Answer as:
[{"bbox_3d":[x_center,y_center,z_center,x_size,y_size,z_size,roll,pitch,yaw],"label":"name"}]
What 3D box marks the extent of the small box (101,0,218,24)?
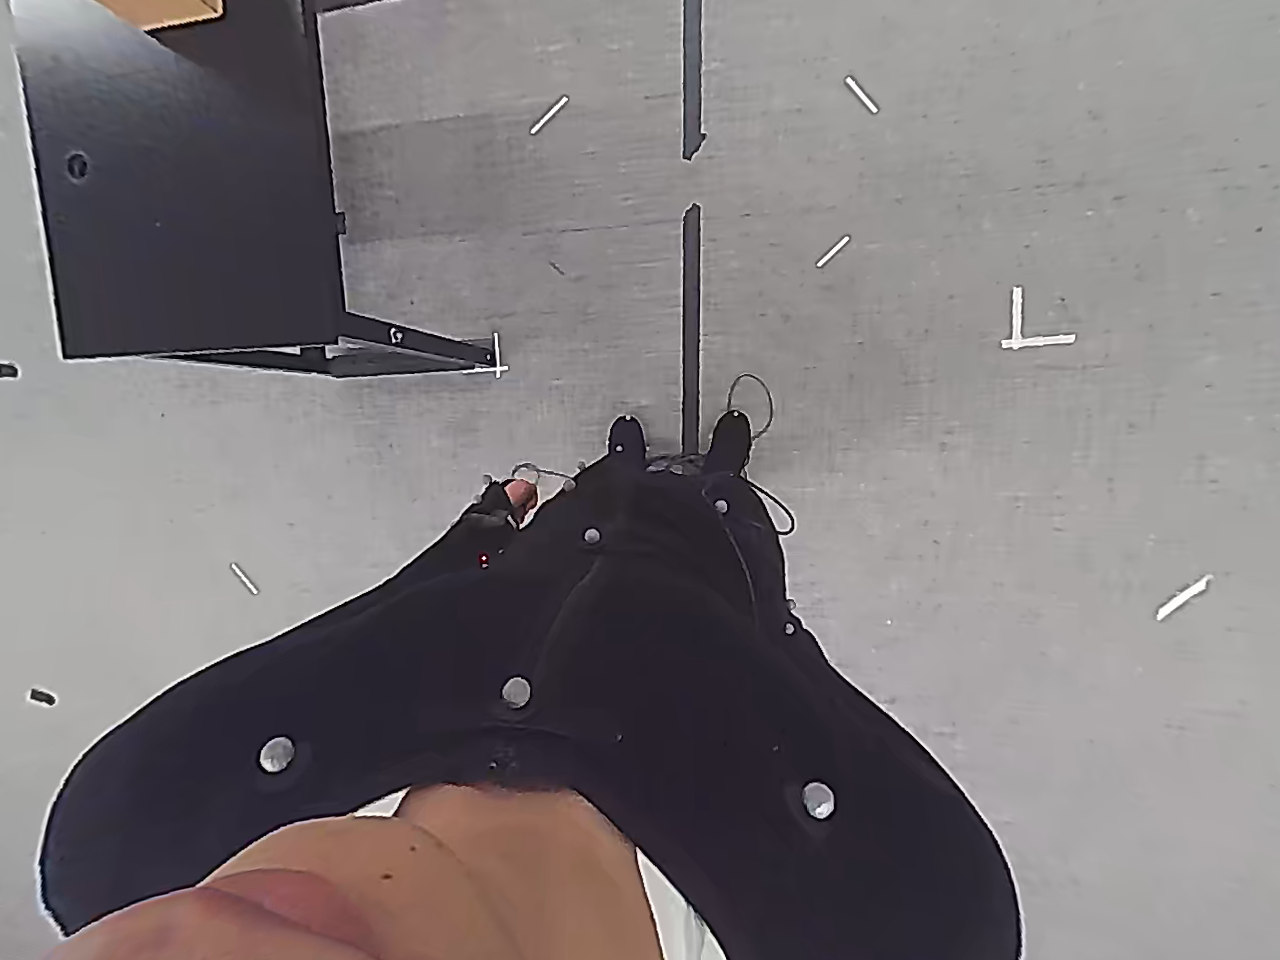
[{"bbox_3d":[-0.816,-0.864,0.847,0.179,0.176,0.168,-1,97,10],"label":"small box"}]
